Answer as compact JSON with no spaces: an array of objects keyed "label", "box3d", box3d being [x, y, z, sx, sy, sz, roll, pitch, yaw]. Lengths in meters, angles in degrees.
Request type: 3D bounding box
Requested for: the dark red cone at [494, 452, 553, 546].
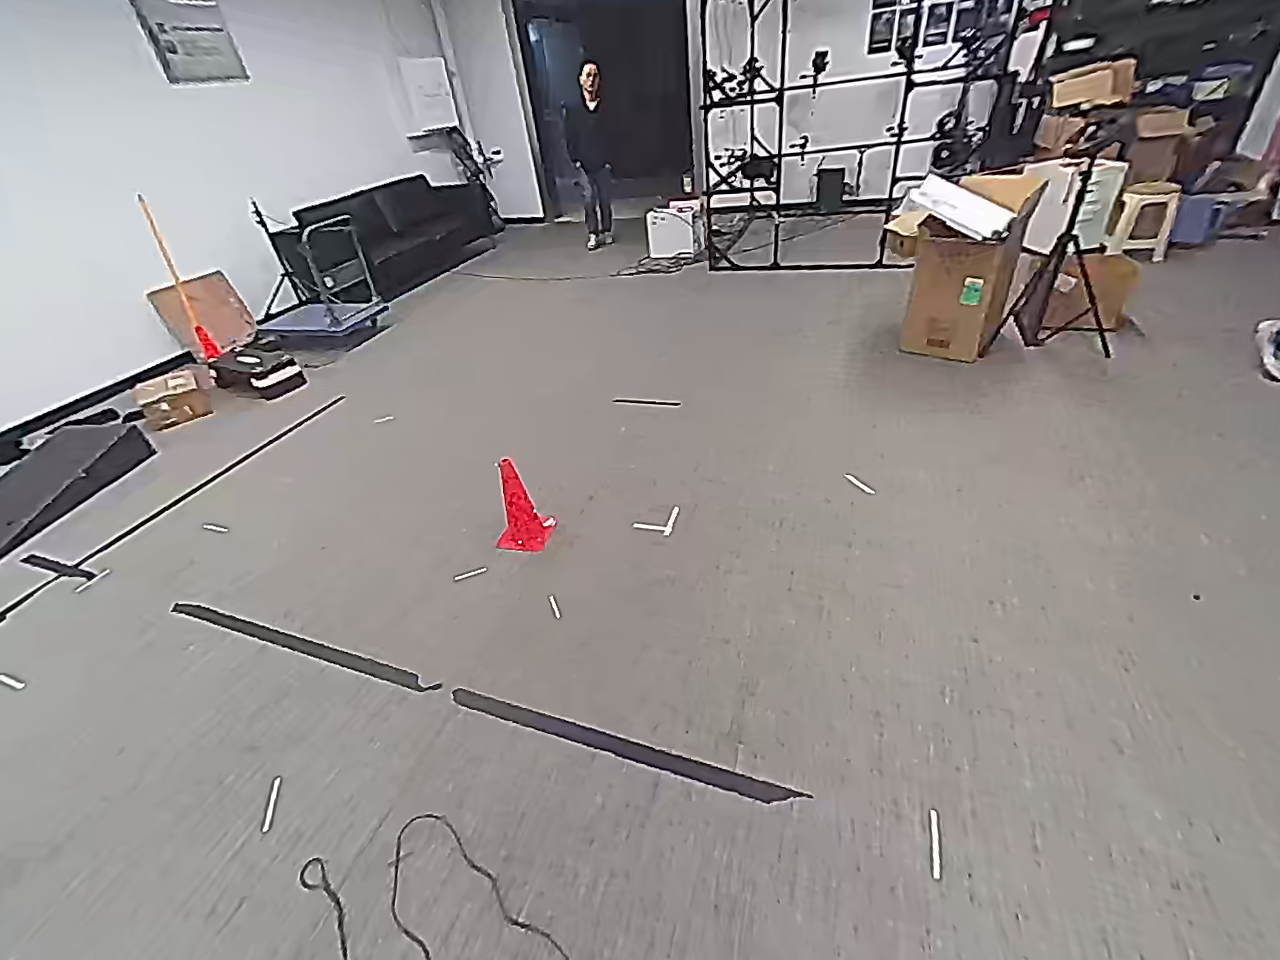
[{"label":"dark red cone","box3d":[-0.481,0.063,2.072,0.202,0.394,0.201,2,38,14]}]
